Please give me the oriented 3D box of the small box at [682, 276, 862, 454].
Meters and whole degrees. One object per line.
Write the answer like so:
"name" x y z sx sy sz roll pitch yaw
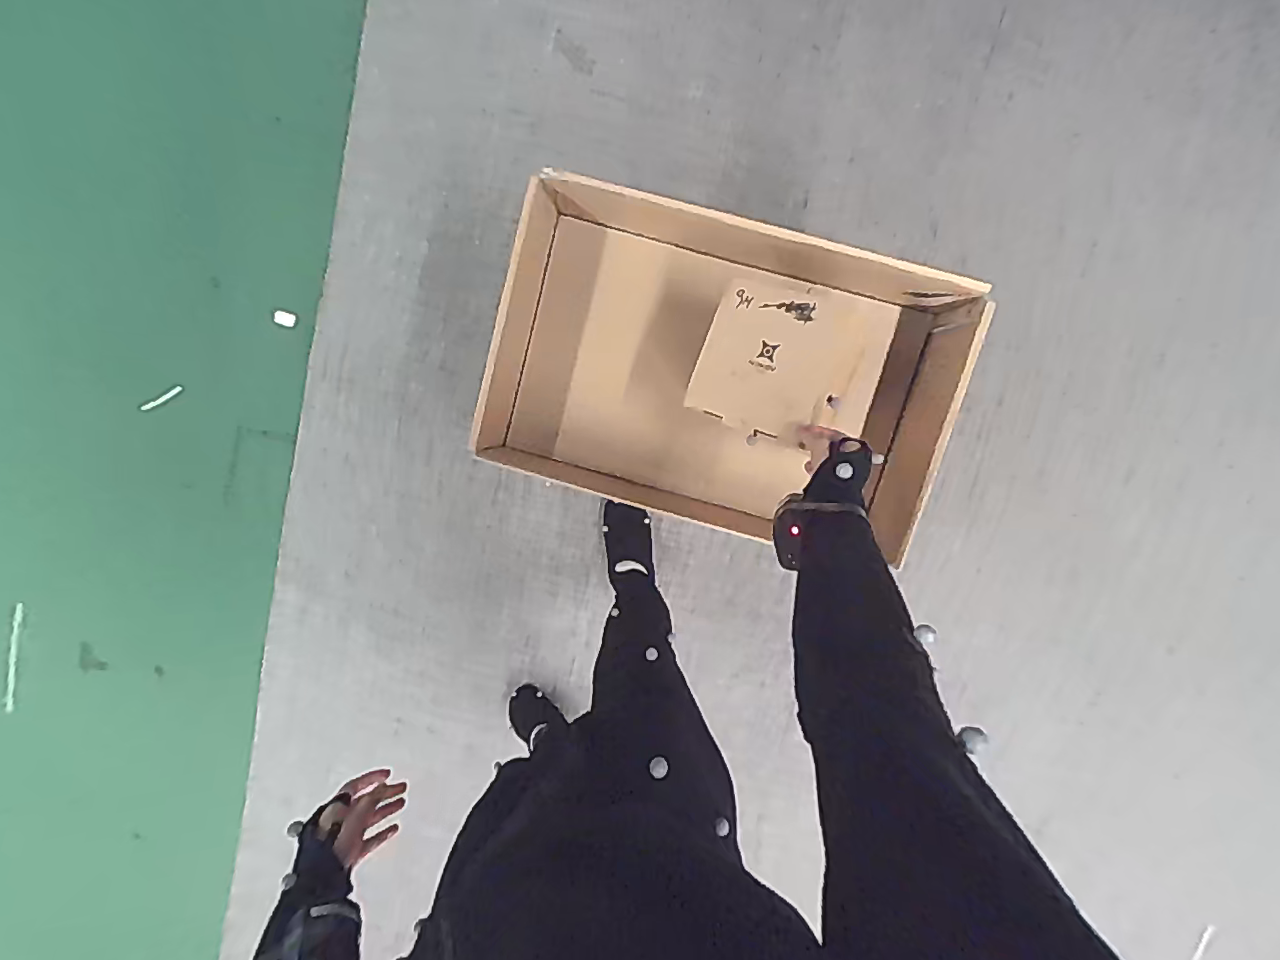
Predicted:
"small box" 0.186 -0.145 0.730 0.168 0.176 0.179 25 98 26
